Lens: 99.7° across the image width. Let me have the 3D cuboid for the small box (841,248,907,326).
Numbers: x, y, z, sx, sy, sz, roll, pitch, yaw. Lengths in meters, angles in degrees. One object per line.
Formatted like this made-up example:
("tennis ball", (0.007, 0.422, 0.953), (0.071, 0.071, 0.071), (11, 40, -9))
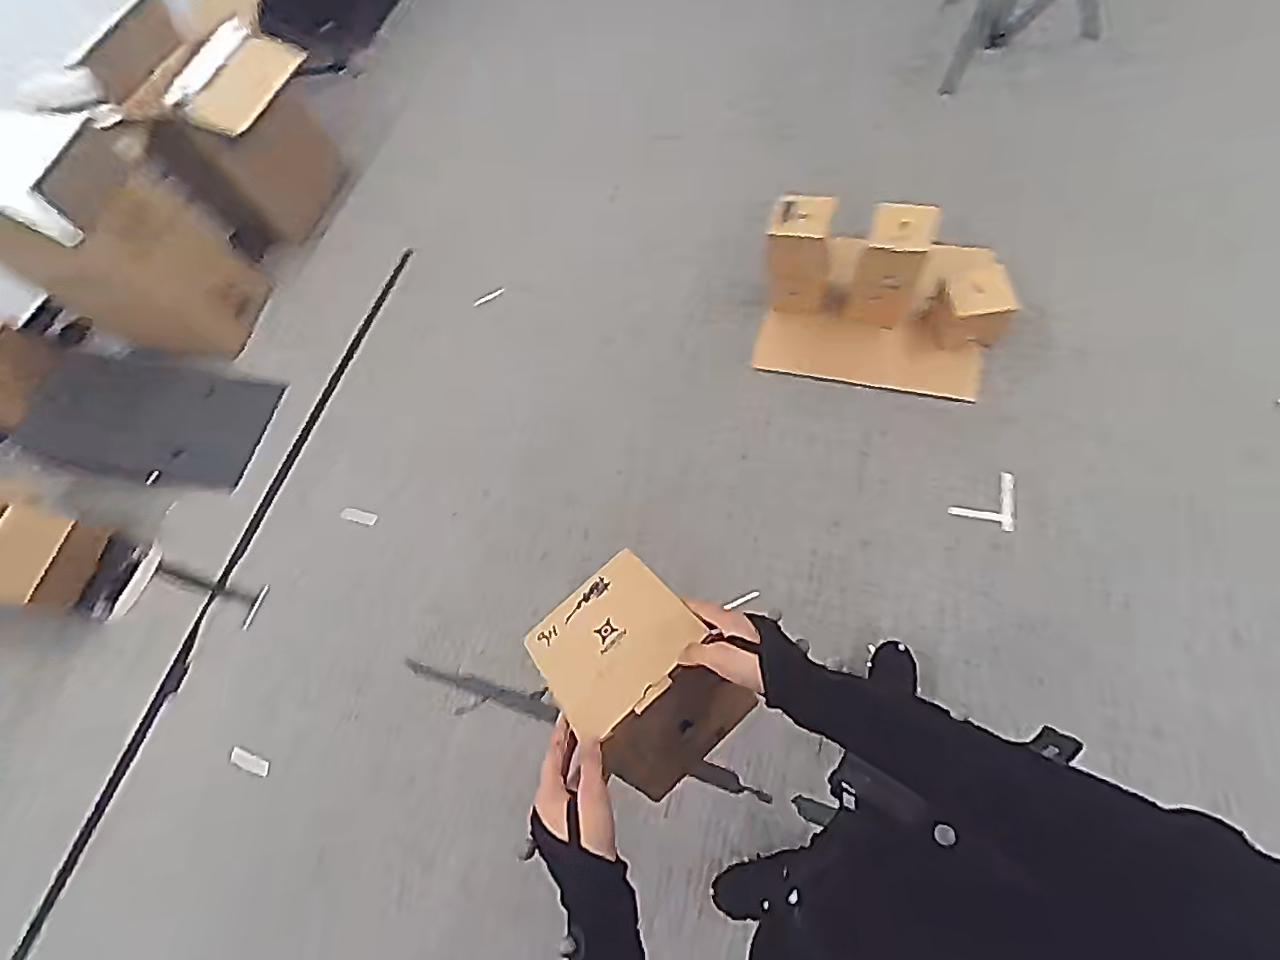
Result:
("small box", (0.771, -0.627, 1.766), (0.179, 0.176, 0.168), (14, 71, 18))

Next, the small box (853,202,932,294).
("small box", (0.748, -0.691, 1.615), (0.168, 0.176, 0.179), (14, 71, 18))

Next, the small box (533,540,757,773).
("small box", (0.010, 0.211, 0.636), (0.168, 0.176, 0.179), (-40, 41, -9))

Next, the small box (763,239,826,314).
("small box", (0.525, -0.691, 1.846), (0.179, 0.176, 0.168), (12, 70, 19))

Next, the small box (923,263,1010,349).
("small box", (1.000, -0.534, 1.674), (0.168, 0.176, 0.179), (-7, 65, 11))
